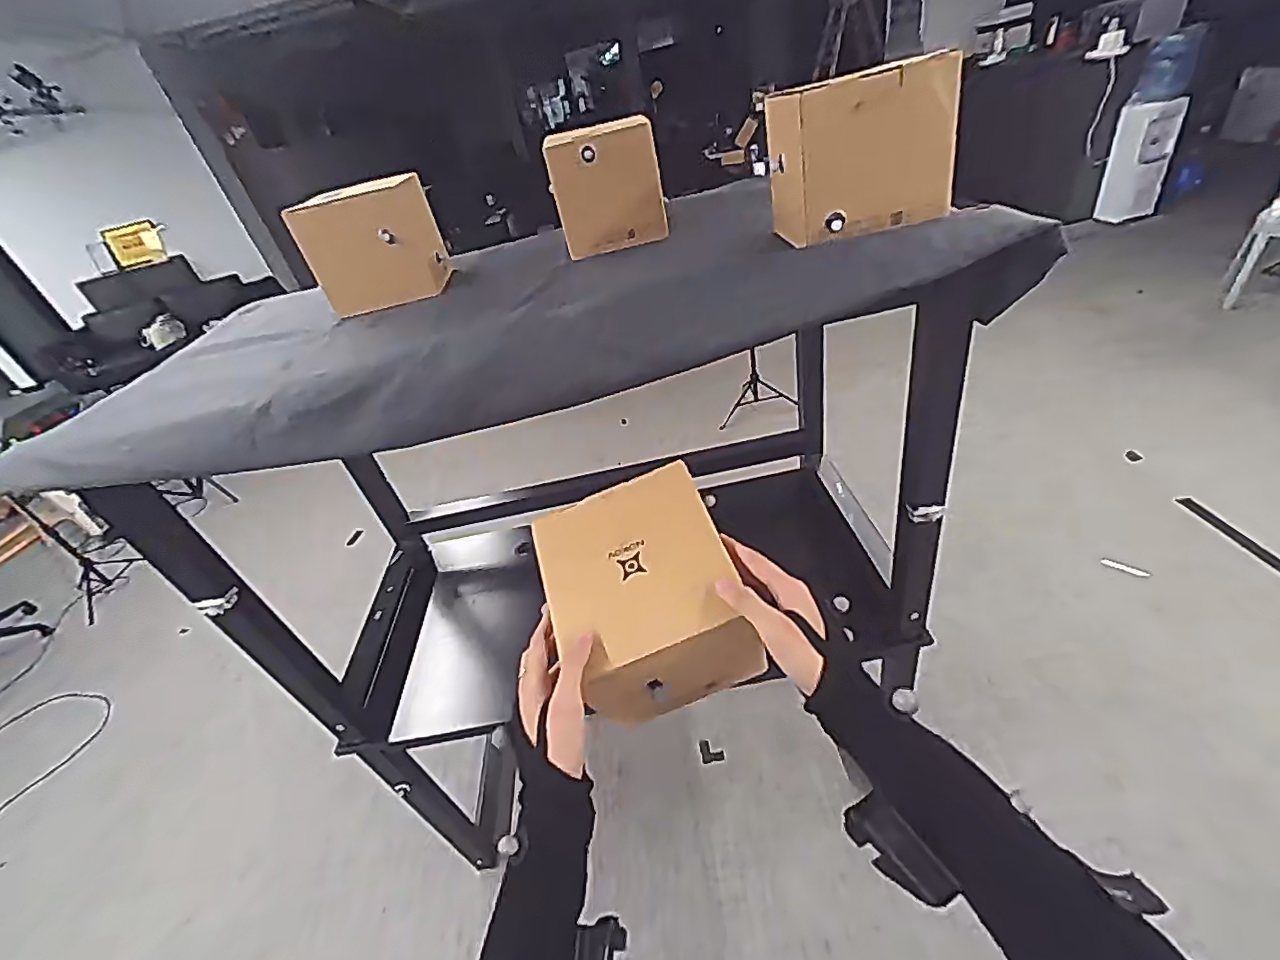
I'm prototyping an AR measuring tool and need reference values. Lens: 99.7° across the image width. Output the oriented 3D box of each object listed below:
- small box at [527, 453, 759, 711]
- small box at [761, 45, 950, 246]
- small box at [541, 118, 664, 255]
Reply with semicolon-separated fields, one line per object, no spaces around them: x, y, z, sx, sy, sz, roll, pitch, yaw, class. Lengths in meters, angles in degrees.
0.007;0.111;0.542;0.168;0.176;0.179;-23;50;0;small box
0.255;-0.402;0.670;0.168;0.176;0.179;-11;32;5;small box
-0.060;-0.496;0.917;0.168;0.176;0.179;-13;35;2;small box
